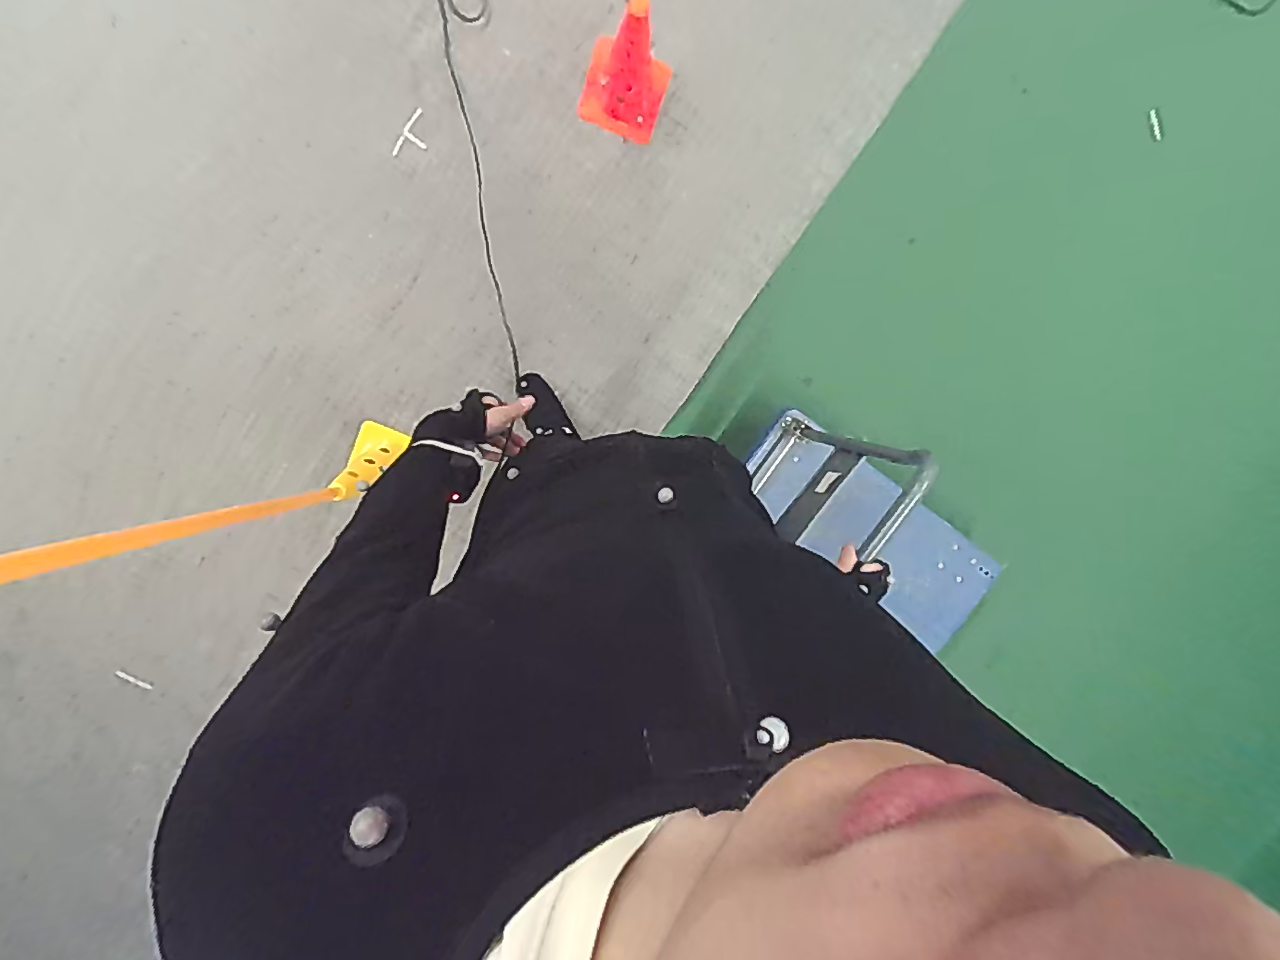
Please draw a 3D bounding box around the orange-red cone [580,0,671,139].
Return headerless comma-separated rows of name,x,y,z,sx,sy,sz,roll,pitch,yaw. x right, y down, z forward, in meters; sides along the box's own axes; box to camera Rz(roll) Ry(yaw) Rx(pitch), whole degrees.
orange-red cone,-0.015,-0.977,1.224,0.198,0.360,0.199,19,98,-11
